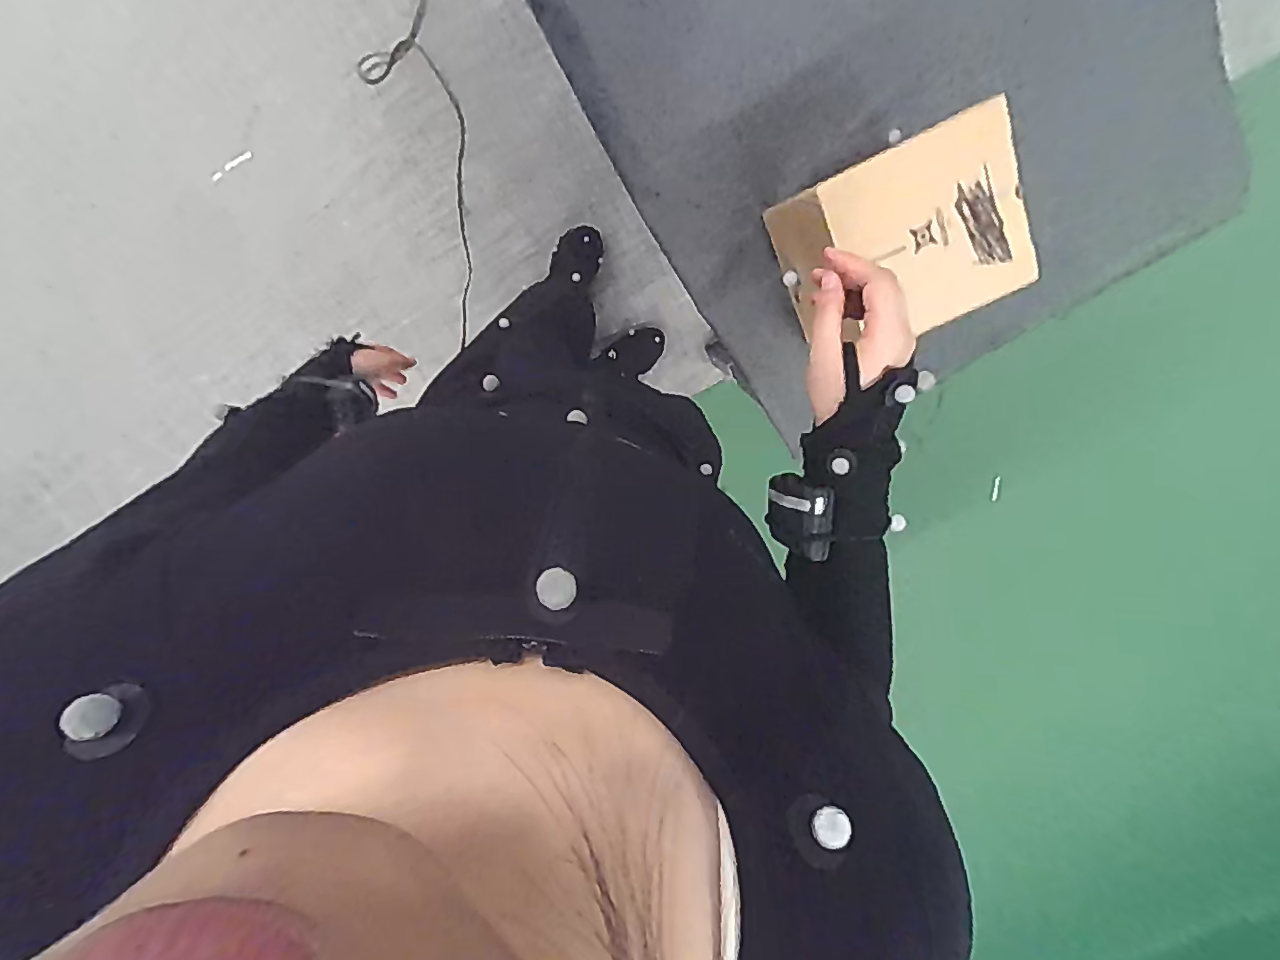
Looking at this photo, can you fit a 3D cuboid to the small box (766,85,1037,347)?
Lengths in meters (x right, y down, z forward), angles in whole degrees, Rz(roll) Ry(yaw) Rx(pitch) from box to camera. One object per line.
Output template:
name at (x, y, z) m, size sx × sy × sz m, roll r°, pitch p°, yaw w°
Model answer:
small box at (0.256, -0.257, 0.561) m, size 0.179 × 0.176 × 0.168 m, roll -24°, pitch 108°, yaw 5°

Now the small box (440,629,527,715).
small box at (-0.463, 0.584, 1.632) m, size 0.179 × 0.176 × 0.168 m, roll -25°, pitch 109°, yaw 7°
